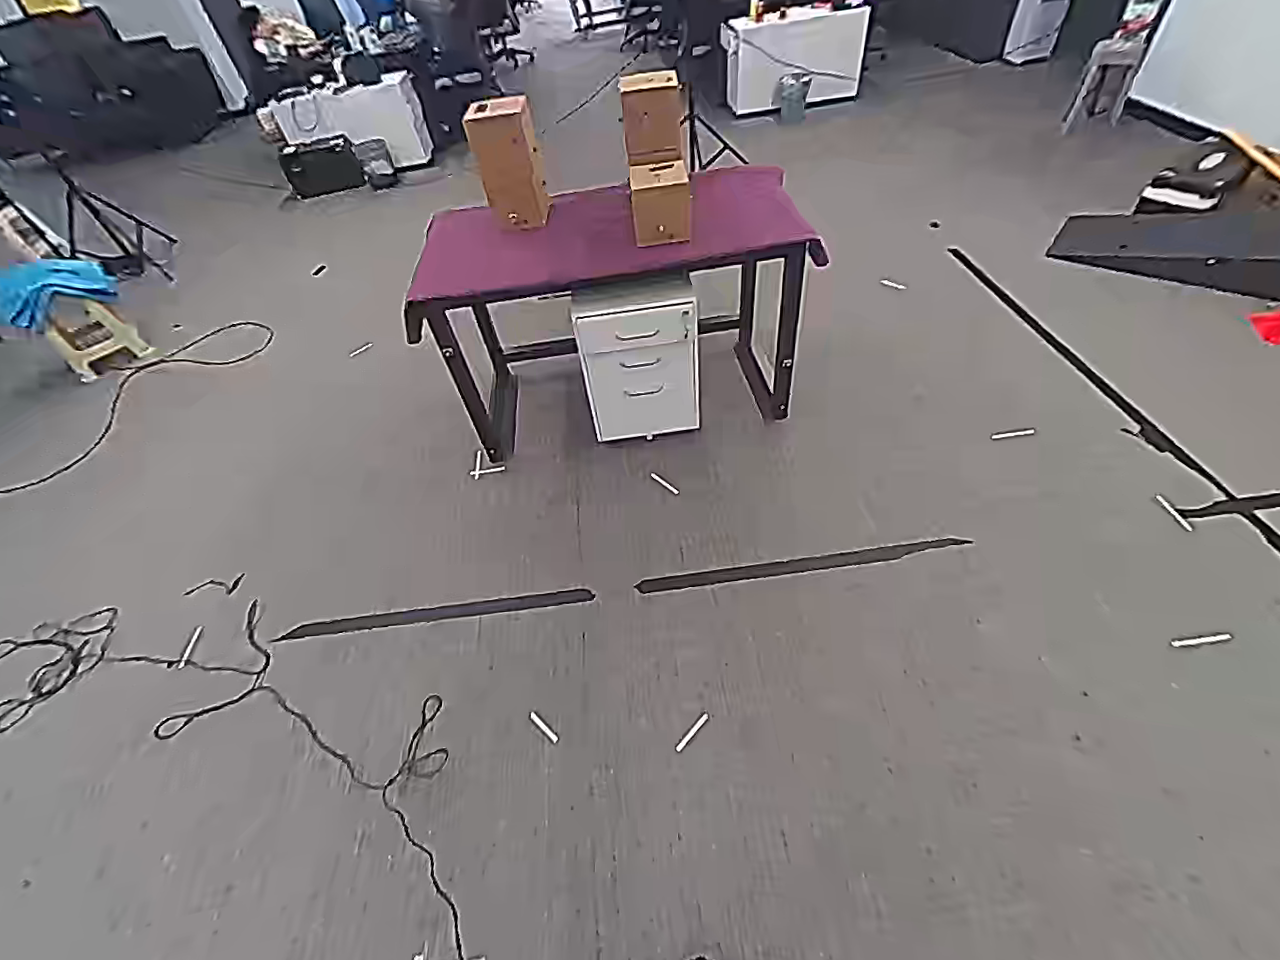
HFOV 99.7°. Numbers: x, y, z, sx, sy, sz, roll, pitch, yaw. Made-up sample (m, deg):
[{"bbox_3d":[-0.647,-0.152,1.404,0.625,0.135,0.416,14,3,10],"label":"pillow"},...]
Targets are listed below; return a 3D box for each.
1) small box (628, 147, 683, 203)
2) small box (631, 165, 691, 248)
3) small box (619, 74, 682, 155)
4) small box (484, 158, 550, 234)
[{"bbox_3d":[0.053,-1.035,1.819,0.179,0.176,0.168,-6,49,4],"label":"small box"},{"bbox_3d":[0.063,-0.823,1.630,0.168,0.176,0.179,-7,47,3],"label":"small box"},{"bbox_3d":[0.034,-1.143,1.697,0.179,0.176,0.168,-5,49,5],"label":"small box"},{"bbox_3d":[-0.404,-0.952,1.814,0.168,0.176,0.179,-5,50,5],"label":"small box"}]
